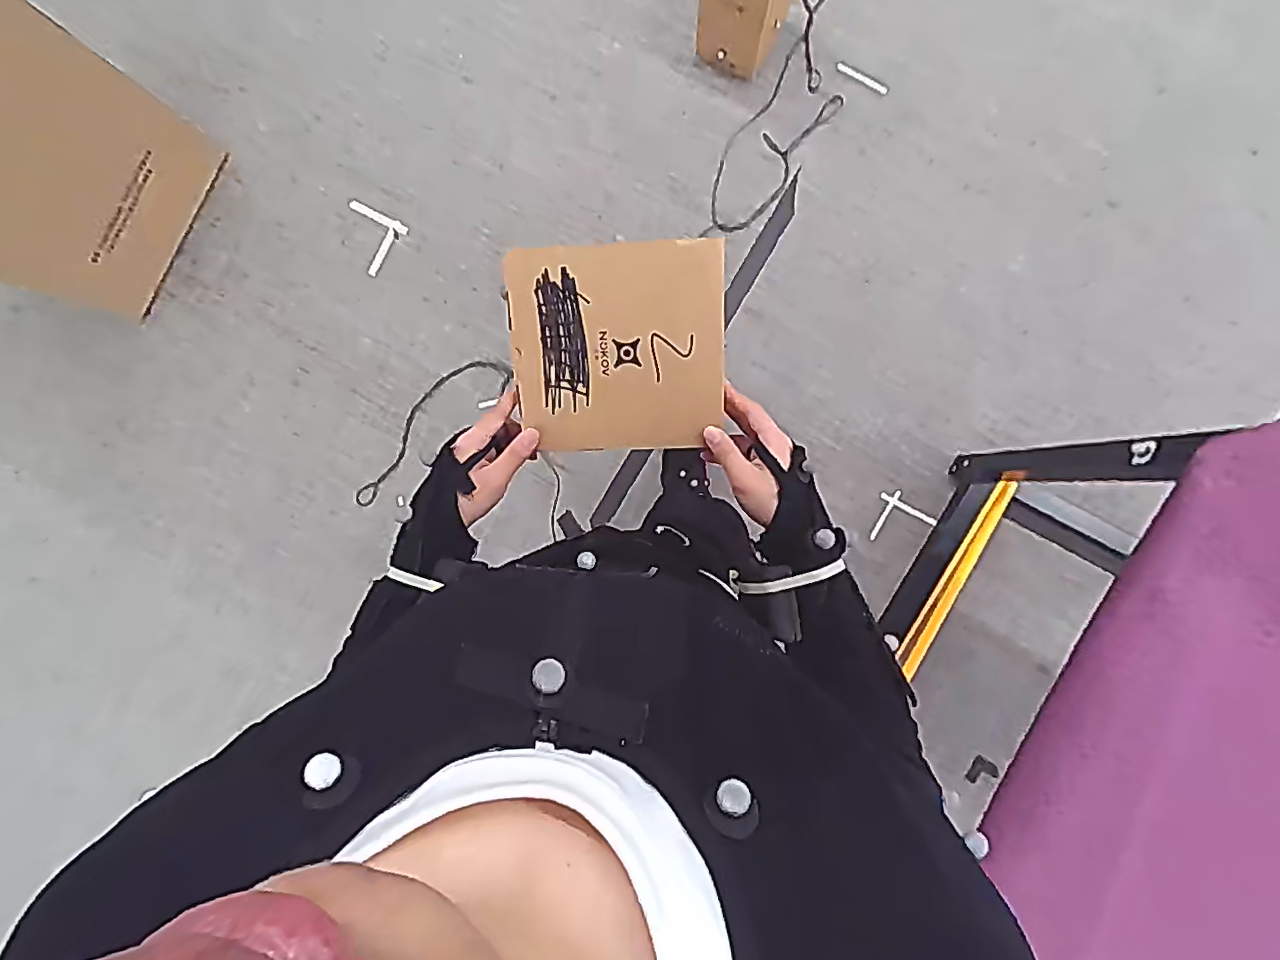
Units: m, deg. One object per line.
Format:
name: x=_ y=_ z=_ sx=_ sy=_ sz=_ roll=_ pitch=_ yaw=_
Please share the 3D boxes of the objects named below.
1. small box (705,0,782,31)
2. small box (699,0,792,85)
small box: x=0.240 y=-1.103 z=1.119 sx=0.168 sy=0.176 sz=0.179 roll=28 pitch=92 yaw=4
small box: x=0.250 y=-1.103 z=1.283 sx=0.168 sy=0.176 sz=0.179 roll=30 pitch=92 yaw=3
